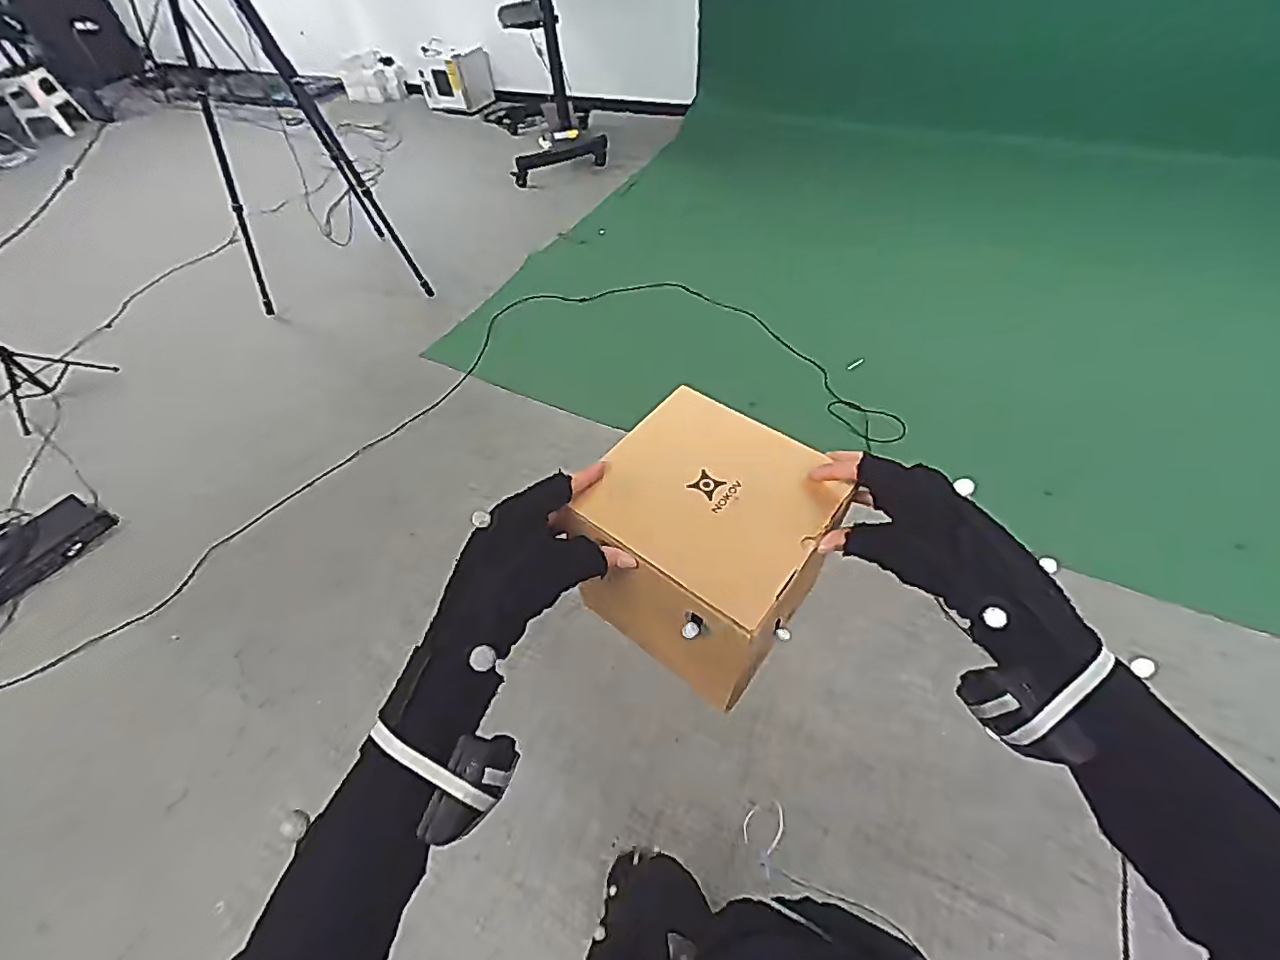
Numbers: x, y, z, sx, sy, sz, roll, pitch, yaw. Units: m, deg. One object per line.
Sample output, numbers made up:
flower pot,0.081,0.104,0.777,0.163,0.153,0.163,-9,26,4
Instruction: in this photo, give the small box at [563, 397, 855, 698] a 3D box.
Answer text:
small box,0.055,0.063,0.487,0.179,0.176,0.168,32,58,23
